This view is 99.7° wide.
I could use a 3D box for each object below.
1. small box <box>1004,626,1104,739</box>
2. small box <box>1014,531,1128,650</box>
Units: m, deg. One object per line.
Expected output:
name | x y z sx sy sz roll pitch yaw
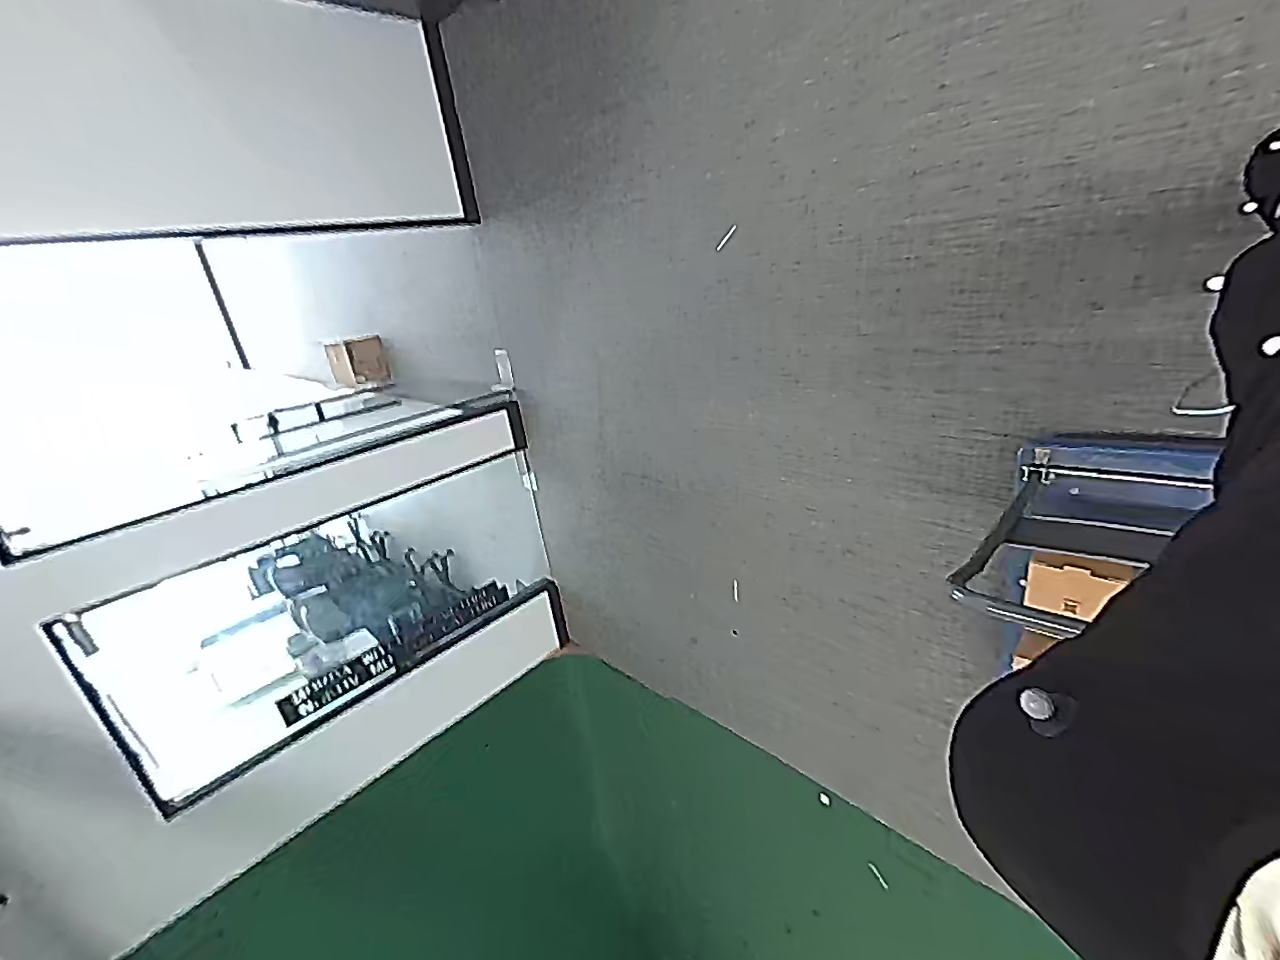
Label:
small box | 0.998 0.471 1.303 0.168 0.176 0.179 9 115 44
small box | 0.970 0.240 1.217 0.168 0.176 0.179 13 118 43
